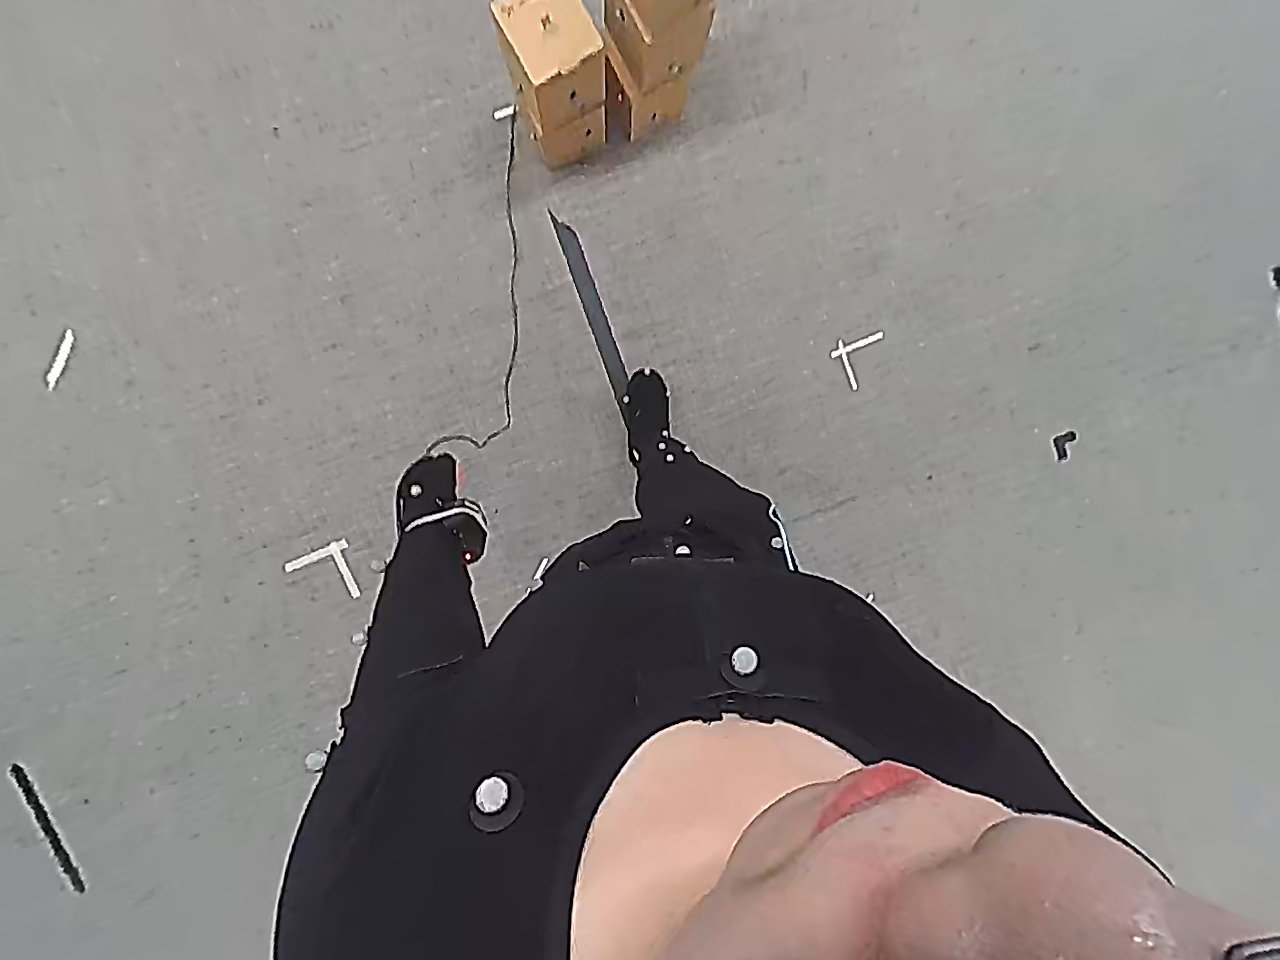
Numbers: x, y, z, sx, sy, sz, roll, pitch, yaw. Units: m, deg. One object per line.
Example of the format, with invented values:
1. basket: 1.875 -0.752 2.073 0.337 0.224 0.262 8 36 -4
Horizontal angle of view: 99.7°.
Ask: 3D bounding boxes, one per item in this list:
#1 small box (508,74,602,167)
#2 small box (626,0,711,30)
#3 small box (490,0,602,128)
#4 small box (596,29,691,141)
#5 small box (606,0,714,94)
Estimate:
1. small box: -0.198 -0.899 1.313 0.168 0.176 0.179 -26 94 -2
2. small box: 0.048 -0.983 0.991 0.168 0.176 0.179 -33 95 -1
3. small box: -0.190 -0.893 1.149 0.168 0.176 0.179 -30 96 -2
4. small box: 0.003 -0.982 1.318 0.168 0.176 0.179 -30 96 -1
5. small box: 0.034 -0.986 1.155 0.168 0.176 0.179 -29 96 -1
